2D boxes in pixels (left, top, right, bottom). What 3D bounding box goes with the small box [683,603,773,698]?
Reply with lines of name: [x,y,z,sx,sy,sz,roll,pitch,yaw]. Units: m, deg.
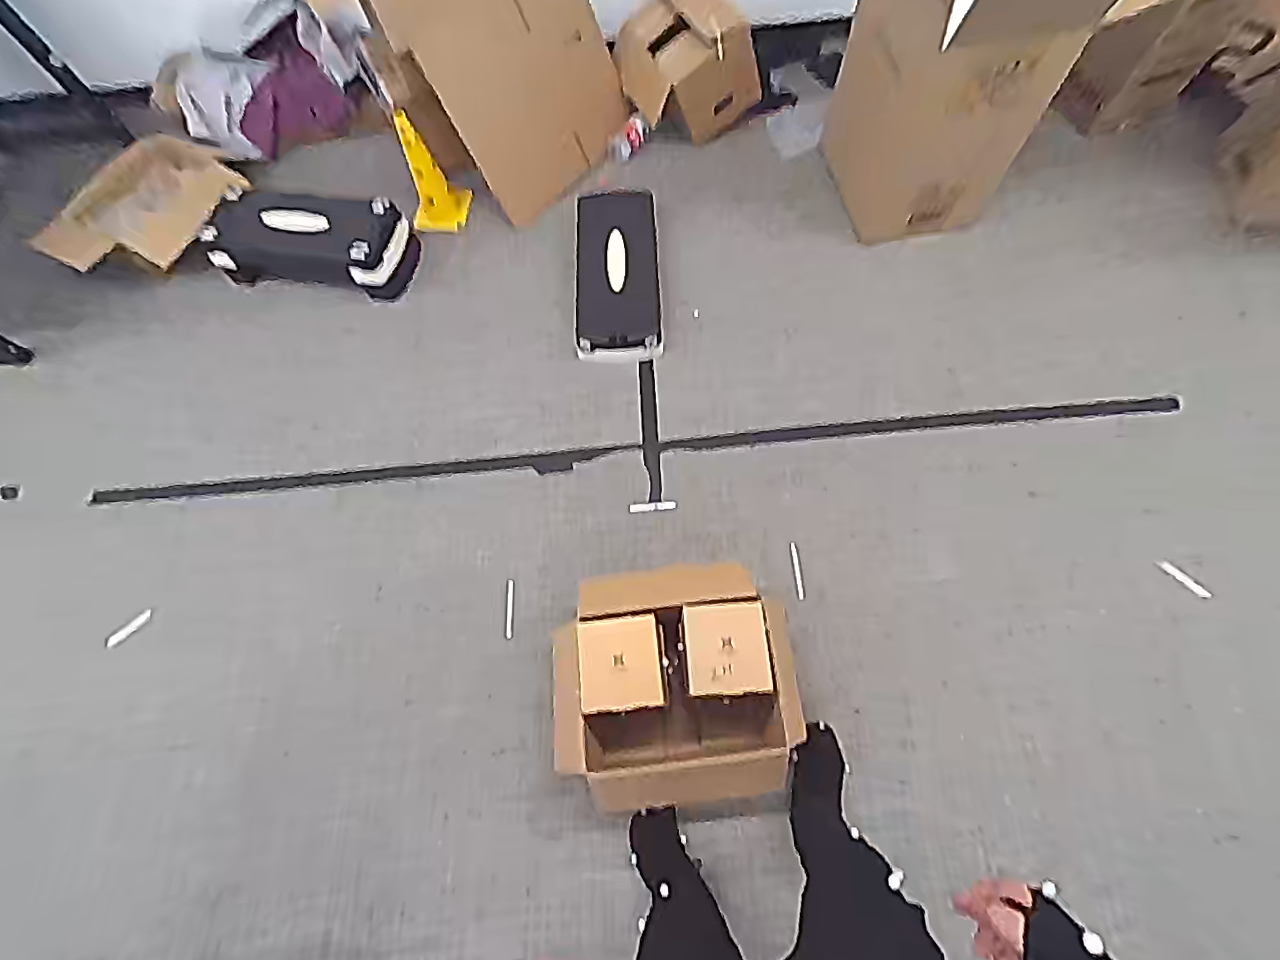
small box: [0.180,0.370,1.159,0.168,0.176,0.179,-3,67,2]
